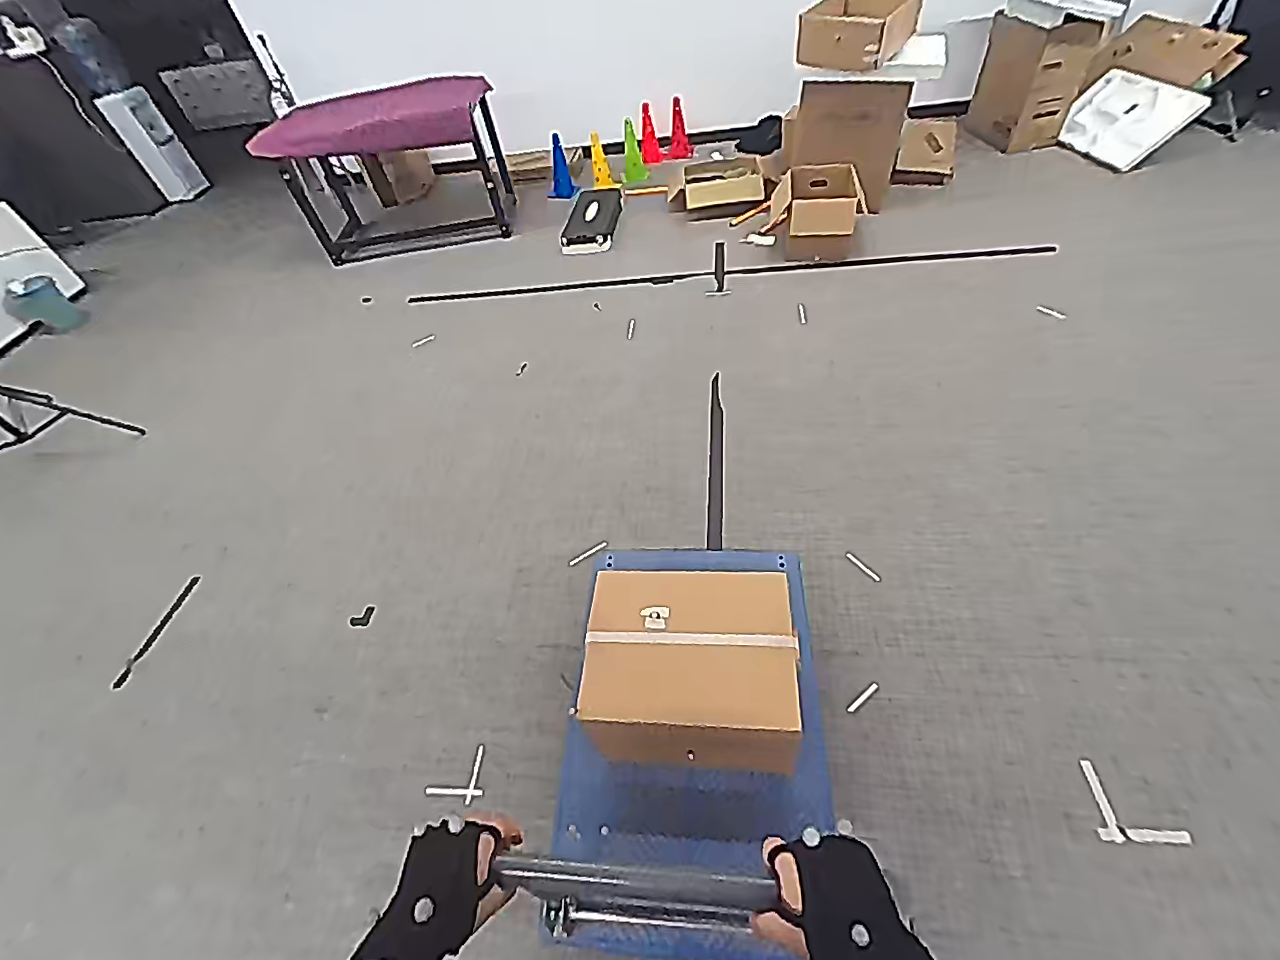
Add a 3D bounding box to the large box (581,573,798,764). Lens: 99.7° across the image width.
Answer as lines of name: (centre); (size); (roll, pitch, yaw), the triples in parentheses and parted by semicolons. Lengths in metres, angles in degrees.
large box: (0.117, 0.419, 1.188); (0.408, 0.320, 0.320); (-2, 49, 10)
